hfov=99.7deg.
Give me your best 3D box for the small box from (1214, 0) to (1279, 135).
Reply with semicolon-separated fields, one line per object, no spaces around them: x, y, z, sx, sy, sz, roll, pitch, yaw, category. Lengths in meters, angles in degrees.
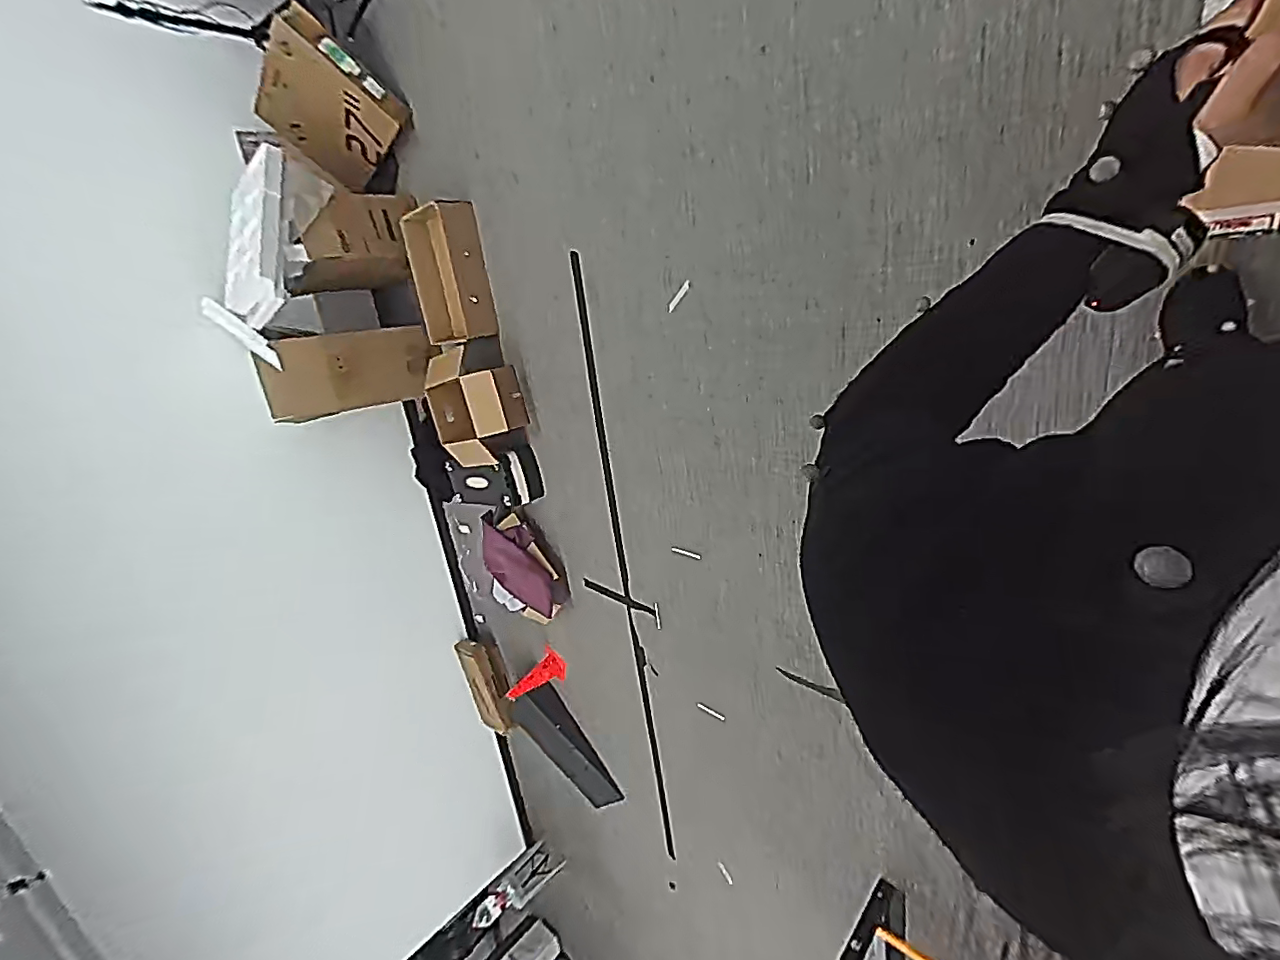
0.500;-0.330;0.320;0.168;0.176;0.179;29;114;33;small box
